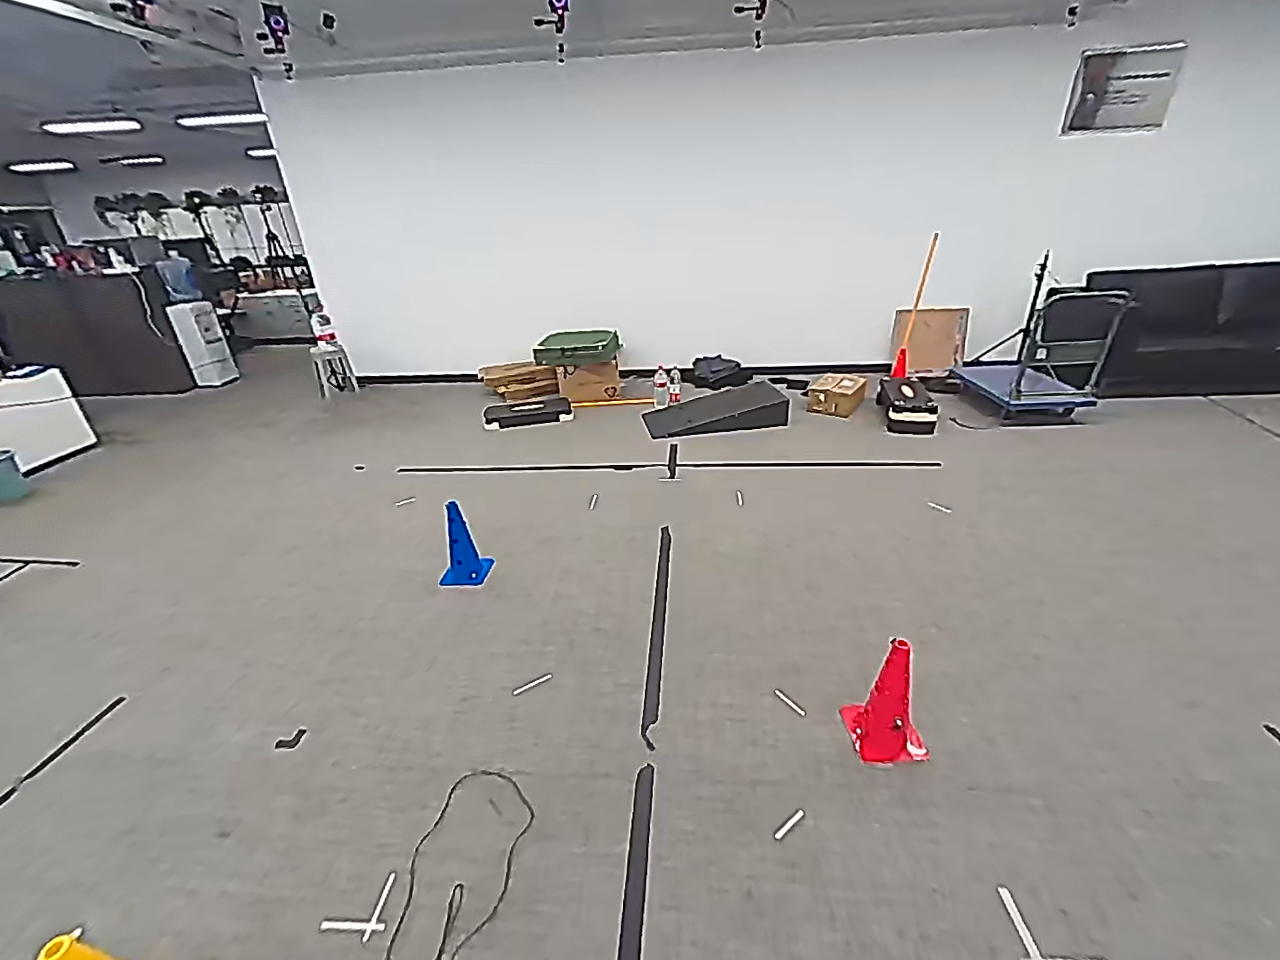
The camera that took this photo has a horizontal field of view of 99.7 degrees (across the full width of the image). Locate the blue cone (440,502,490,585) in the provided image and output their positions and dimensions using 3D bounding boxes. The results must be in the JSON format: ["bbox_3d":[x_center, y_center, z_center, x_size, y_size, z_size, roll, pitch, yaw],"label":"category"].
[{"bbox_3d":[-0.794,0.265,2.358,0.192,0.380,0.193,-1,27,7],"label":"blue cone"}]

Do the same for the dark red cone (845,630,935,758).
[{"bbox_3d":[0.721,0.580,1.519,0.201,0.394,0.202,-4,27,-1],"label":"dark red cone"}]
